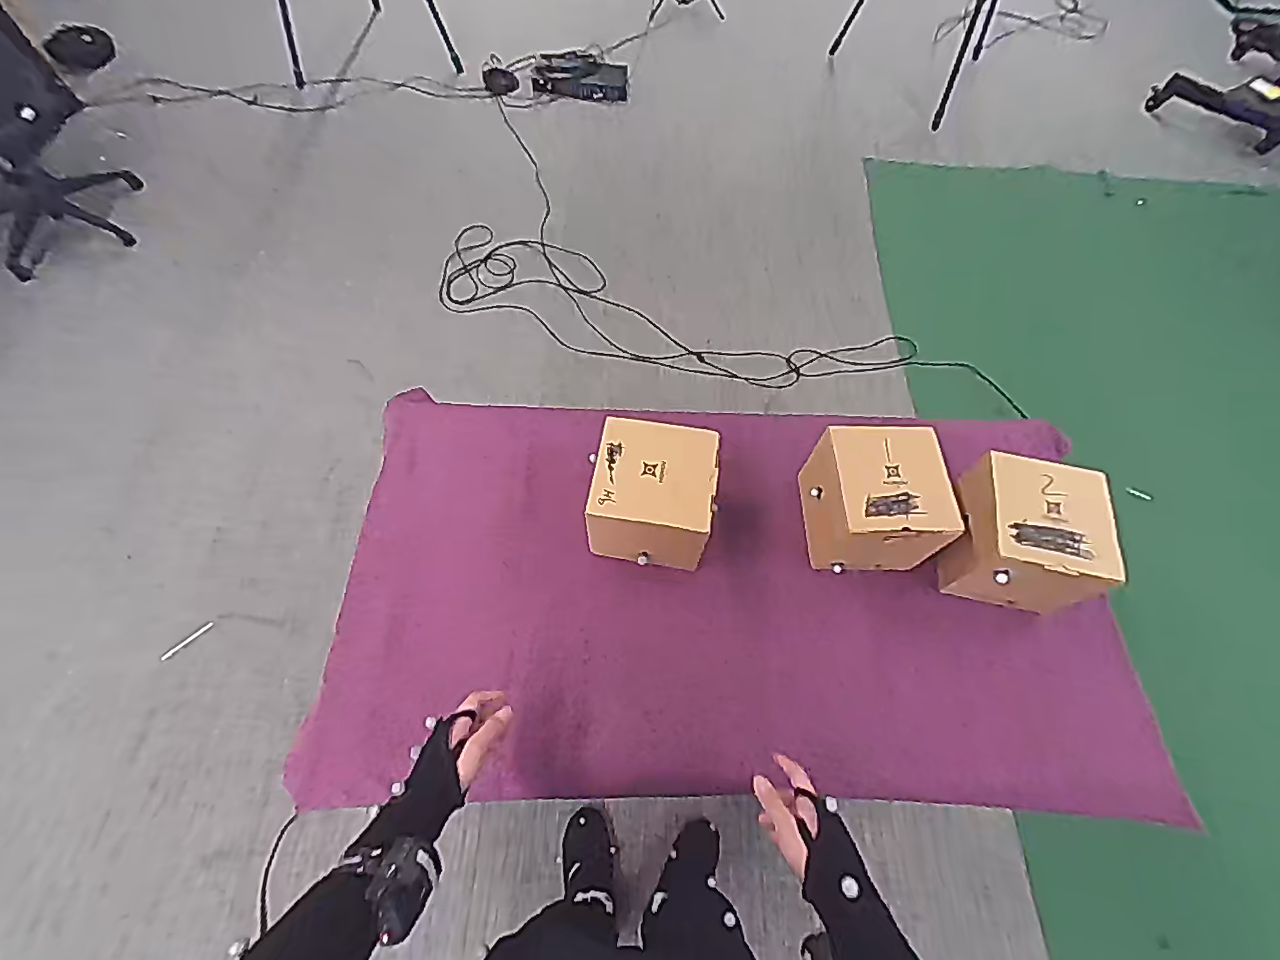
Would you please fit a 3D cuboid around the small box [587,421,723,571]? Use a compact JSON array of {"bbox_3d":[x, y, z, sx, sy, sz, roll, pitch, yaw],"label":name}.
[{"bbox_3d":[0.022,0.033,0.845,0.179,0.176,0.168,10,62,3],"label":"small box"}]
